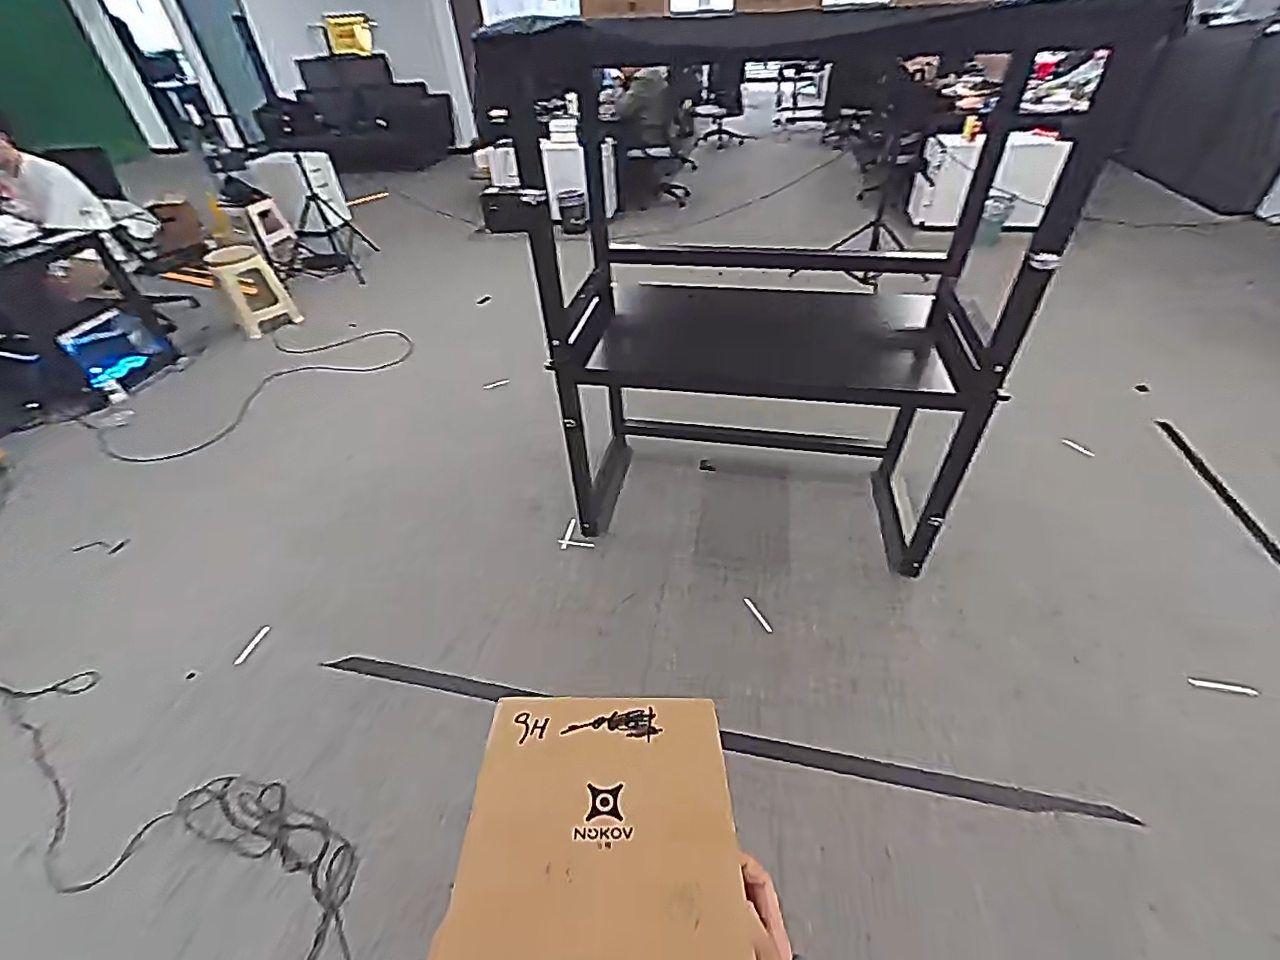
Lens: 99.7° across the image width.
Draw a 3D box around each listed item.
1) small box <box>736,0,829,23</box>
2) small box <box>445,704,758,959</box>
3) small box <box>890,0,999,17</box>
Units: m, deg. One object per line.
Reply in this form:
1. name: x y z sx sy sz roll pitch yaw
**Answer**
1. small box: 0.269 -0.949 0.988 0.168 0.176 0.179 7 41 13
2. small box: -0.023 0.282 0.374 0.168 0.176 0.179 2 32 -3
3. small box: 0.548 -0.926 0.941 0.168 0.176 0.179 7 41 12
